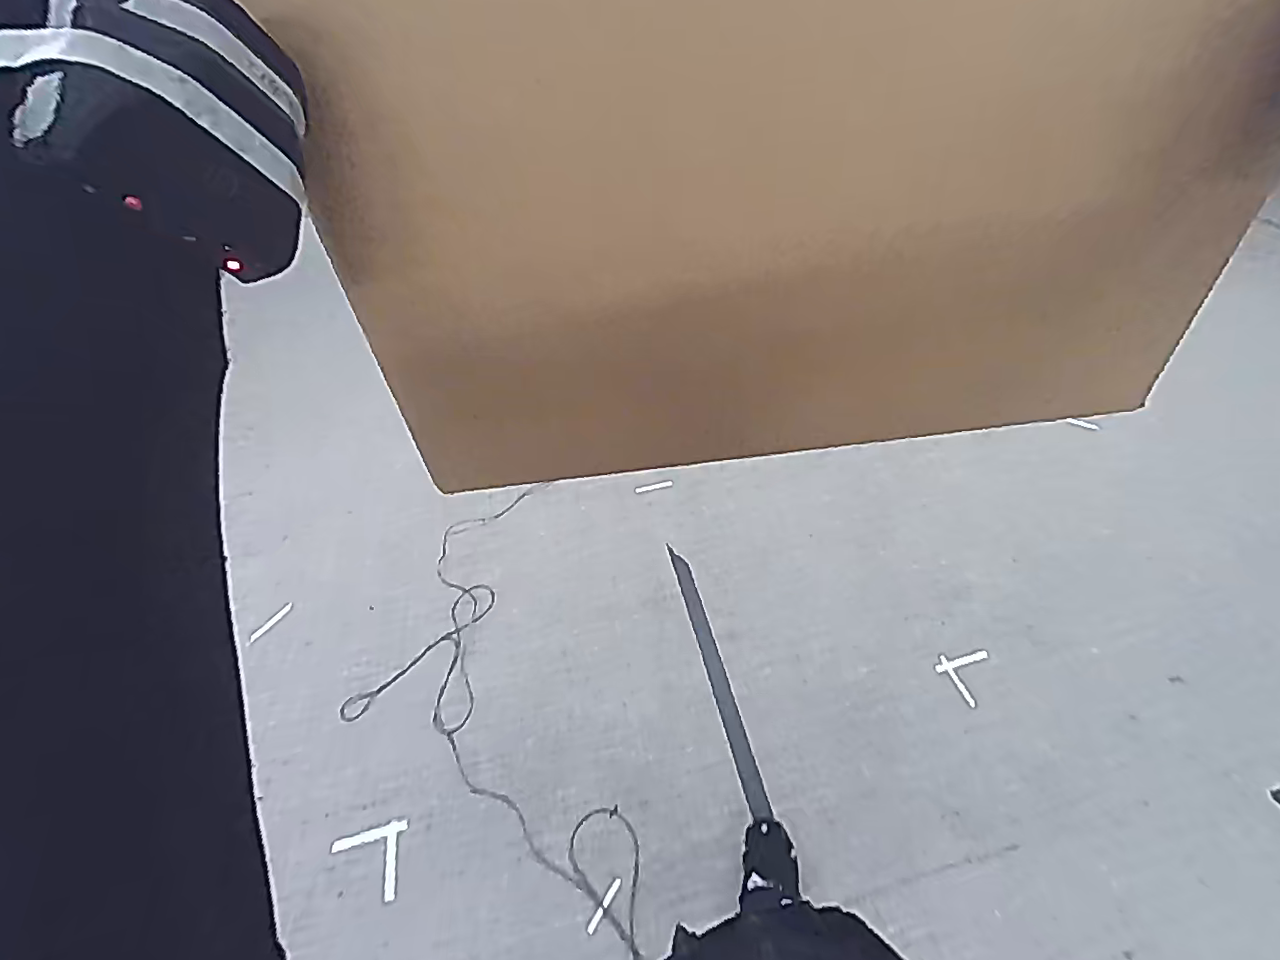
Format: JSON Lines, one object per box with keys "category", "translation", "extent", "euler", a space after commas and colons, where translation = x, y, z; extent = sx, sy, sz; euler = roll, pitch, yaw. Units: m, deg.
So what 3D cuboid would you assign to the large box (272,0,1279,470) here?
{"category": "large box", "translation": [0.057, -0.235, 0.341], "extent": [0.408, 0.320, 0.320], "euler": [-7, 41, -1]}
